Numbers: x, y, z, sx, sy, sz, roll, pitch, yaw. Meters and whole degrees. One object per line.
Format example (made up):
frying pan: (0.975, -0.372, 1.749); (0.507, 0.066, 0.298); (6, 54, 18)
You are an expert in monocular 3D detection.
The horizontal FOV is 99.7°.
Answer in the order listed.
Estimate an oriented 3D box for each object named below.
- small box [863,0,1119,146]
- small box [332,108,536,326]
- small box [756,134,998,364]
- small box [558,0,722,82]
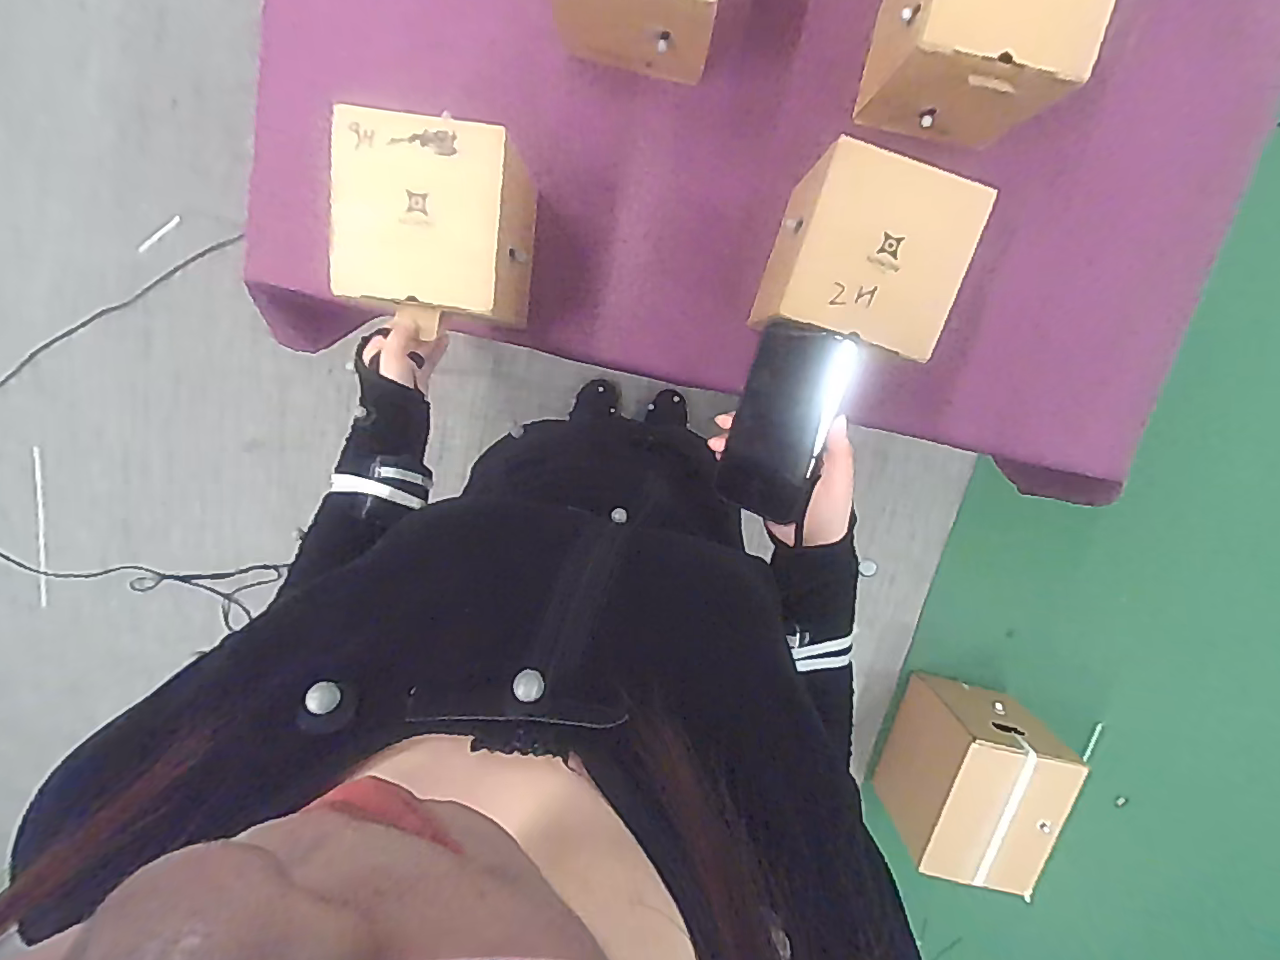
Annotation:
small box: (0.356, -0.484, 0.559); (0.168, 0.176, 0.179); (11, 103, -2)
small box: (-0.217, -0.274, 0.607); (0.168, 0.176, 0.179); (7, 101, -1)
small box: (0.245, -0.241, 0.611); (0.168, 0.176, 0.179); (18, 102, -3)
small box: (0.012, -0.550, 0.547); (0.168, 0.176, 0.179); (13, 102, -3)
